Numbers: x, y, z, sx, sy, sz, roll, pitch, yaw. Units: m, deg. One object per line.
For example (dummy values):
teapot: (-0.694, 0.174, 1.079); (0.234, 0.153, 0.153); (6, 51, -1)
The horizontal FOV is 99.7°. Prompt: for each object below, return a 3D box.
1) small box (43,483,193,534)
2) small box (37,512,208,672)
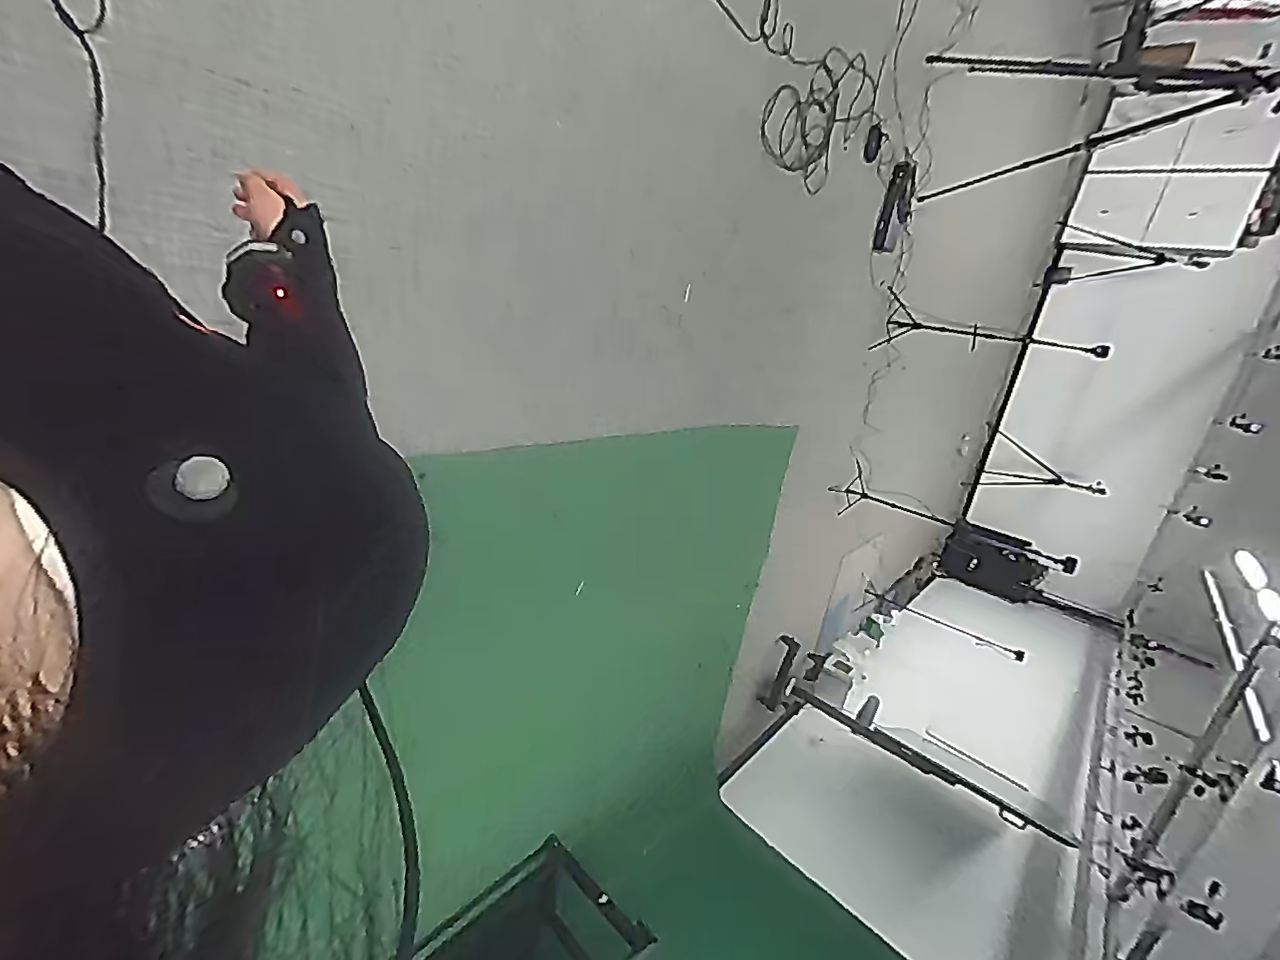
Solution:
small box: (-0.918, 0.111, 0.957); (0.179, 0.176, 0.168); (-7, 113, -47)
small box: (-0.806, 0.162, 0.846); (0.179, 0.176, 0.168); (-8, 115, -48)
